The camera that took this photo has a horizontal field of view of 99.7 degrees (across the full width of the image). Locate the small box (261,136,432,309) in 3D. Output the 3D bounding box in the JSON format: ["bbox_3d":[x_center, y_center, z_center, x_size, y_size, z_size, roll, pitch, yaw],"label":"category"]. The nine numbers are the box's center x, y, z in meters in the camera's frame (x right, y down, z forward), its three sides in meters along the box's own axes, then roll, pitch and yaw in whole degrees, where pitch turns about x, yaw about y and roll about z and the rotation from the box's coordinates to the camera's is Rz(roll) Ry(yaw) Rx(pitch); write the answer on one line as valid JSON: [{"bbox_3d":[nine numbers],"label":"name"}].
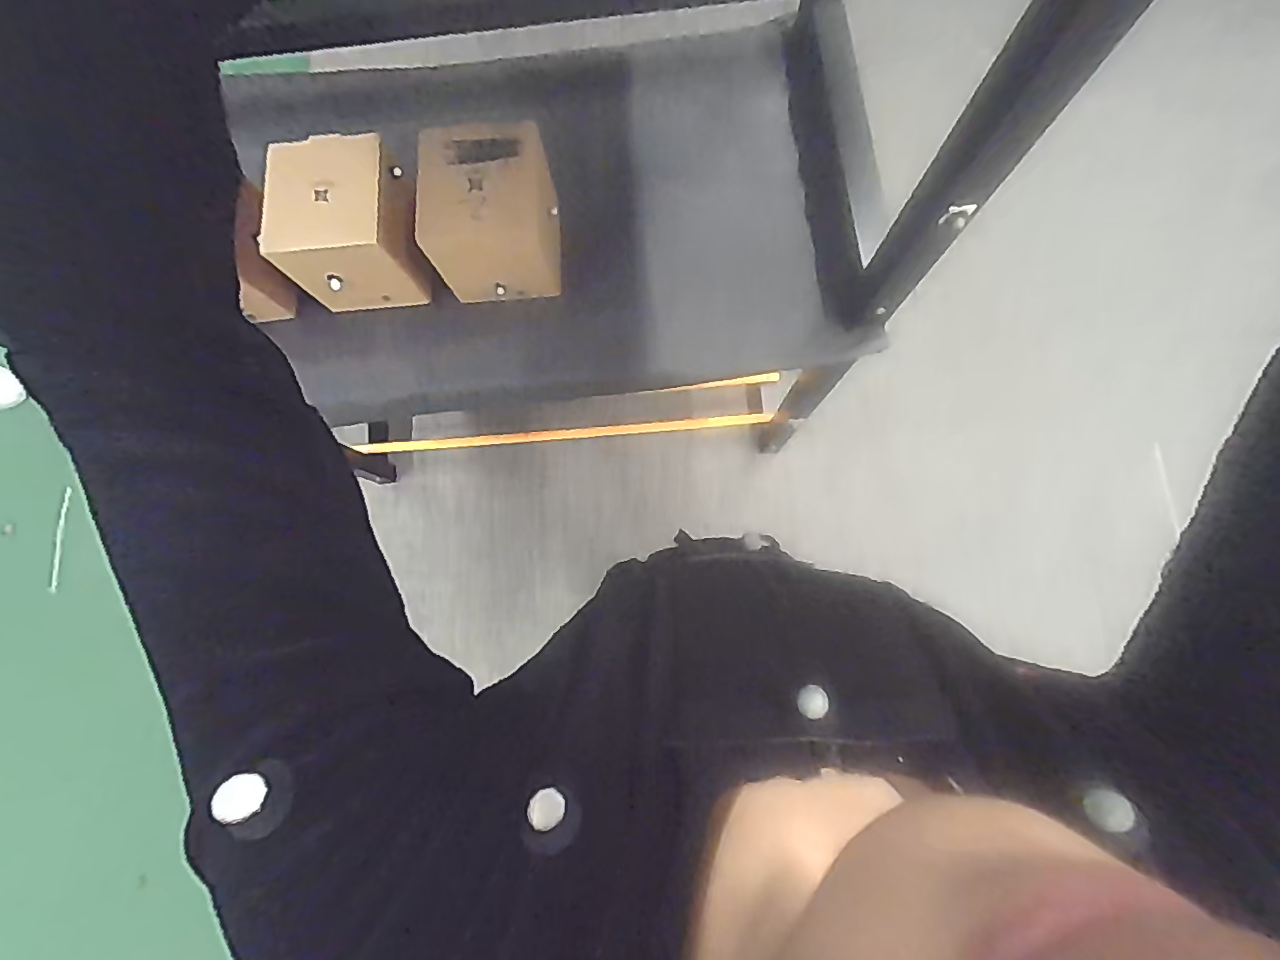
[{"bbox_3d":[-0.429,-0.375,0.818,0.168,0.176,0.179,-4,78,2],"label":"small box"}]
